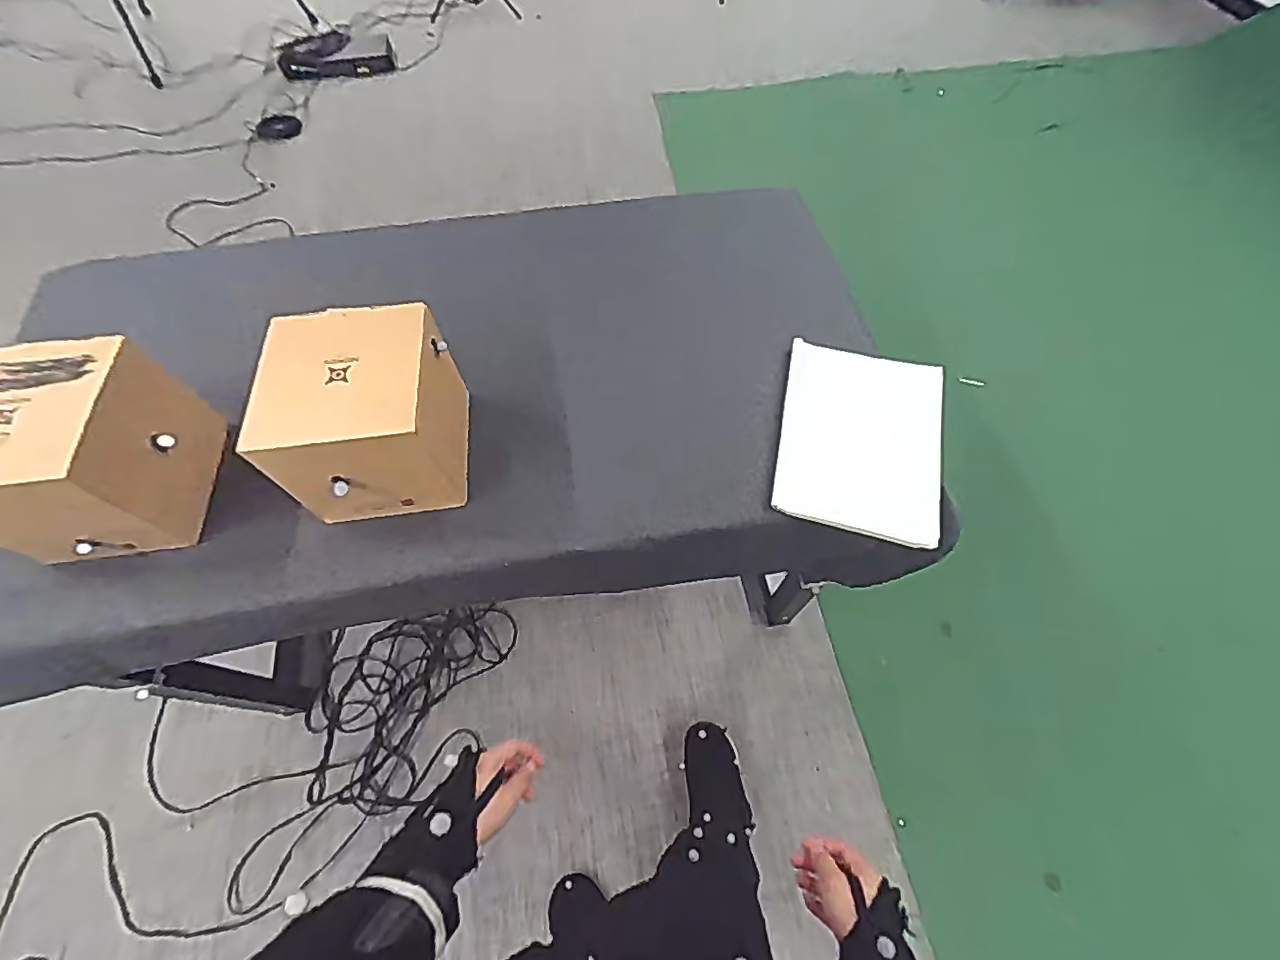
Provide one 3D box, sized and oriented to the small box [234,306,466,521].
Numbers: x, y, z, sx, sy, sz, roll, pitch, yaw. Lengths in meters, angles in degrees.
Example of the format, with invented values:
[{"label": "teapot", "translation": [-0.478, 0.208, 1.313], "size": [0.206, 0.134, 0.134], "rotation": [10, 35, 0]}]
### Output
[{"label": "small box", "translation": [-0.302, -0.064, 0.608], "size": [0.168, 0.176, 0.179], "rotation": [-7, 60, -3]}]
